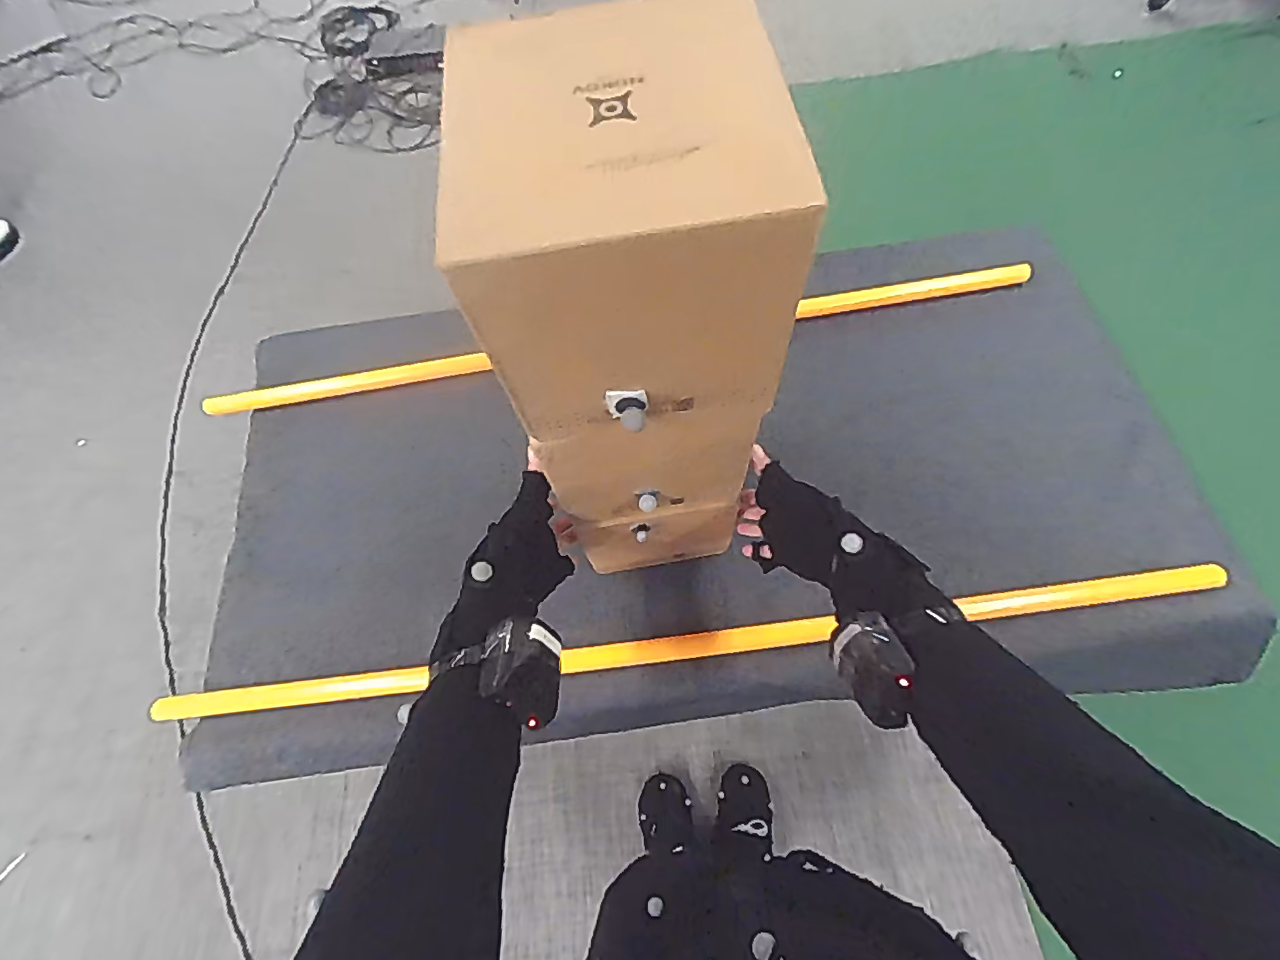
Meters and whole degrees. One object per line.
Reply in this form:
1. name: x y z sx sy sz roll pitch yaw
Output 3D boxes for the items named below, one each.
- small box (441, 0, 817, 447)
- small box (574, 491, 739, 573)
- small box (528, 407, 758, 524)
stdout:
1. small box: -0.008 -0.142 0.338 0.168 0.176 0.179 -9 66 2
2. small box: 0.010 -0.005 0.635 0.168 0.176 0.179 -11 66 1
3. small box: -0.002 -0.077 0.486 0.168 0.176 0.179 -9 66 1
